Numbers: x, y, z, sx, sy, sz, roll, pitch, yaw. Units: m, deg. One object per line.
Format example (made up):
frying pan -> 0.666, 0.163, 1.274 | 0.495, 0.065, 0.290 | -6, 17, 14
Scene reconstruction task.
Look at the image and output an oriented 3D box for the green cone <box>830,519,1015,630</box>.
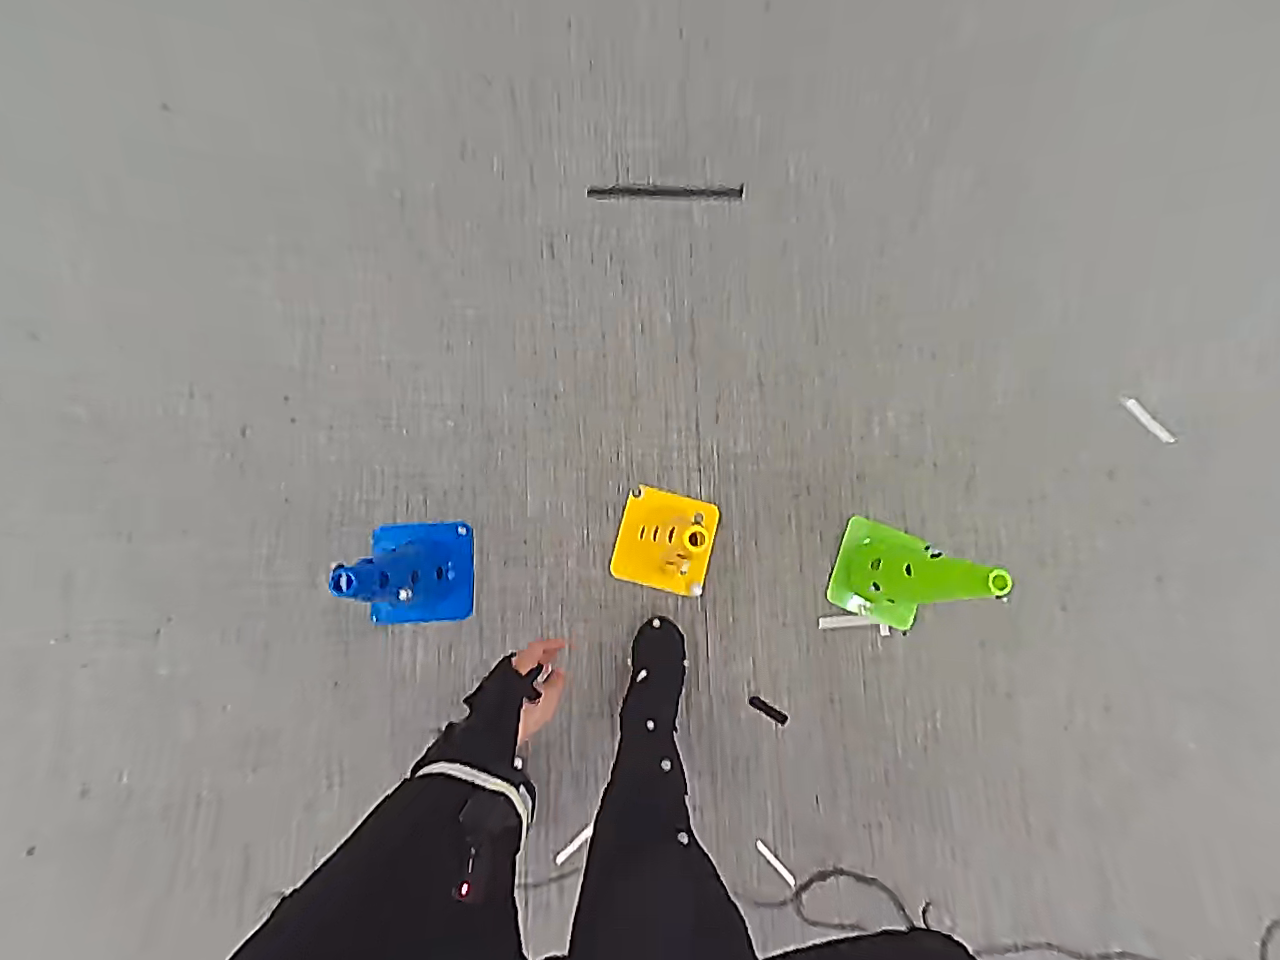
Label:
green cone -> 0.539, 0.183, 1.001 | 0.200, 0.368, 0.202 | 20, 82, -1
